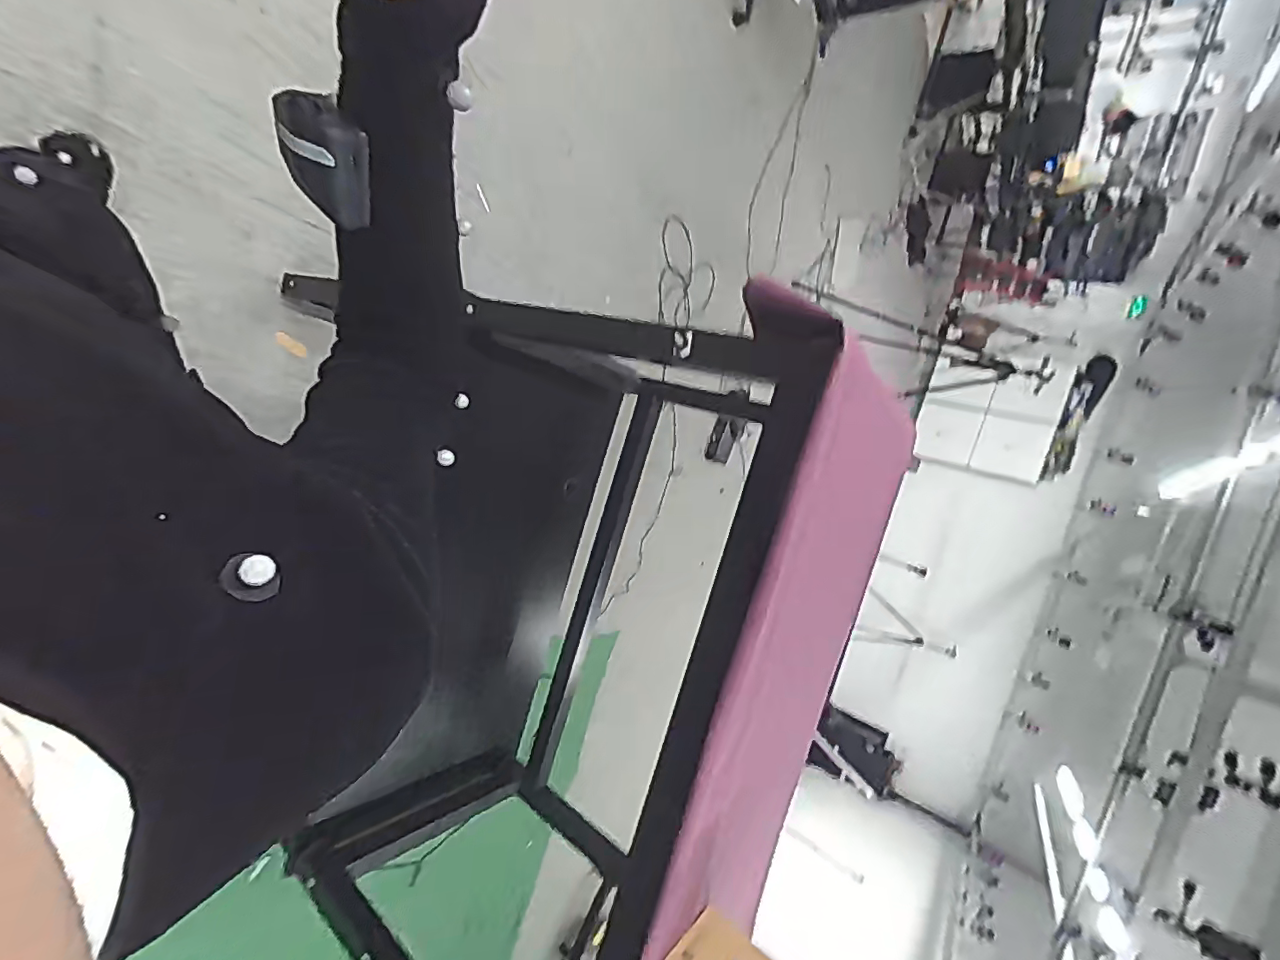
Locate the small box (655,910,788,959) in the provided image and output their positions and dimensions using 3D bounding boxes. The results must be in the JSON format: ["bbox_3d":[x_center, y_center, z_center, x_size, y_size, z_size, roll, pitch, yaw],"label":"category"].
[{"bbox_3d":[0.095,0.714,0.700,0.168,0.176,0.179,12,95,-56],"label":"small box"}]
